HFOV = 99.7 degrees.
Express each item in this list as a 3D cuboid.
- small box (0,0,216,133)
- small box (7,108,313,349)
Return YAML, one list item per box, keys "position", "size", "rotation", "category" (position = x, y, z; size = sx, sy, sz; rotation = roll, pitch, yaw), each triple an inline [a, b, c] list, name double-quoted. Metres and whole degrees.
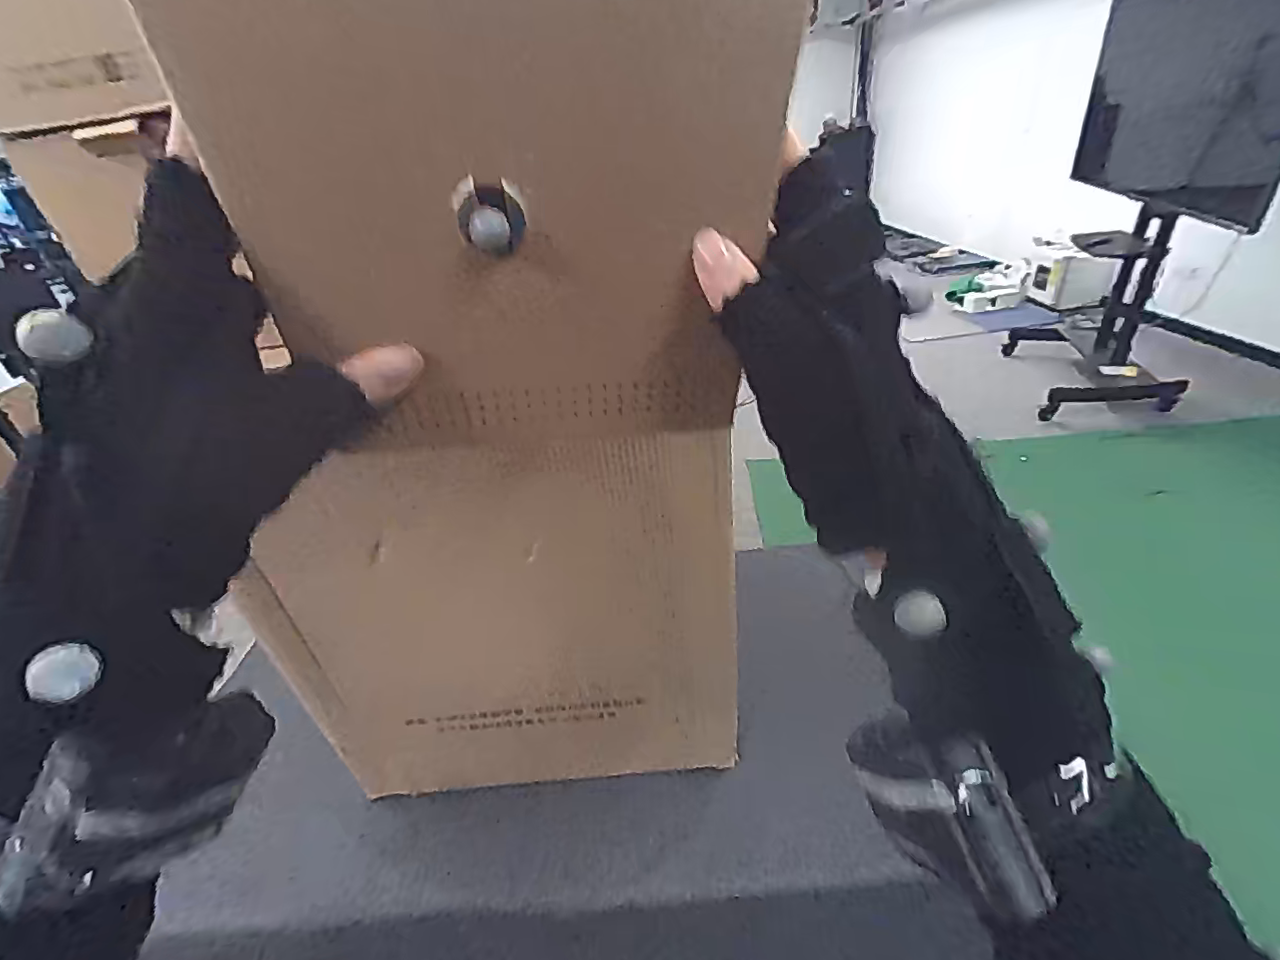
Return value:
- position: [-0.367, -0.354, 0.388]
  size: [0.168, 0.176, 0.179]
  rotation: [-6, 33, 0]
  category: "small box"
- position: [-0.354, -0.224, 0.485]
  size: [0.168, 0.176, 0.179]
  rotation: [-7, 35, 0]
  category: "small box"
